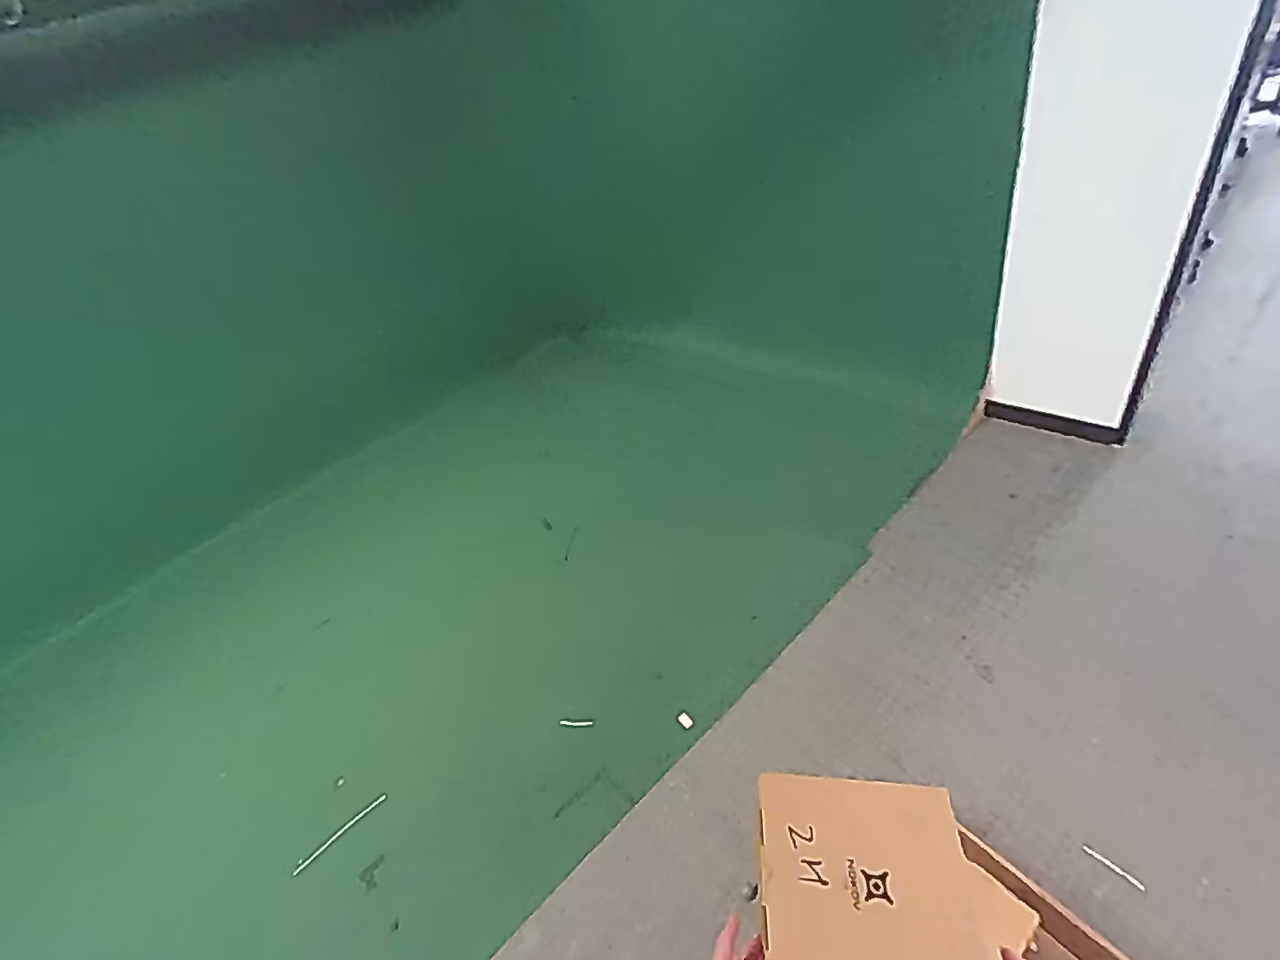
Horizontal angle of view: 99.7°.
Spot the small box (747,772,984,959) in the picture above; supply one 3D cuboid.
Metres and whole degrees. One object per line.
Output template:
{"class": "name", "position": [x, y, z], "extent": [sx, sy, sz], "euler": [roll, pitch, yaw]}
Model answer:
{"class": "small box", "position": [0.194, 0.401, 0.514], "extent": [0.179, 0.176, 0.168], "euler": [0, 44, 10]}

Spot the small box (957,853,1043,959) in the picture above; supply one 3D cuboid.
{"class": "small box", "position": [0.576, 0.811, 0.965], "extent": [0.179, 0.176, 0.168], "euler": [-38, 43, -22]}
